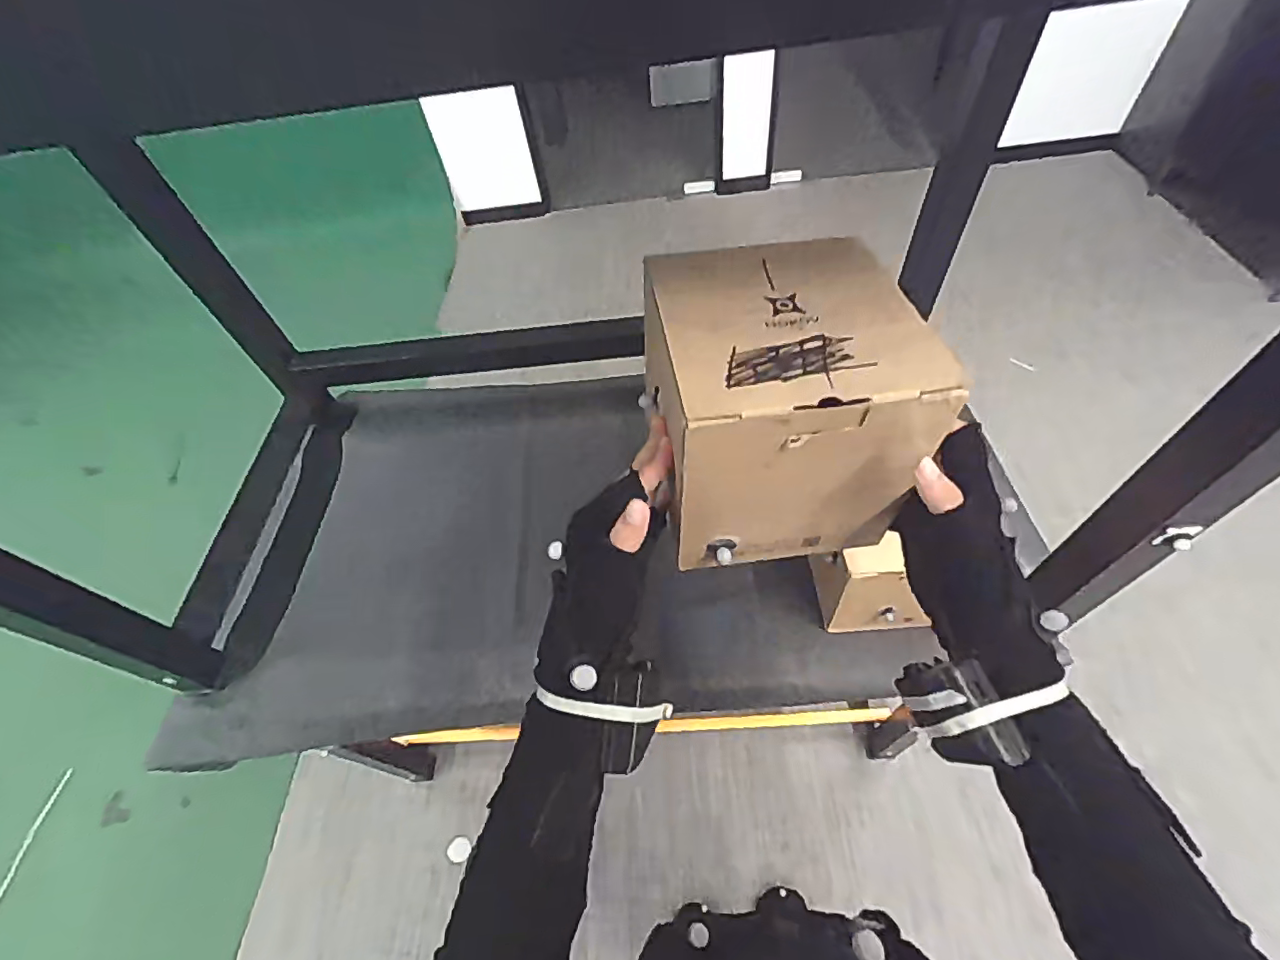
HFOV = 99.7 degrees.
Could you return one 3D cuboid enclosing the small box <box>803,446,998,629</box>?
[{"bbox_3d":[0.321,0.079,0.713,0.168,0.176,0.179,-5,53,5],"label":"small box"}]
